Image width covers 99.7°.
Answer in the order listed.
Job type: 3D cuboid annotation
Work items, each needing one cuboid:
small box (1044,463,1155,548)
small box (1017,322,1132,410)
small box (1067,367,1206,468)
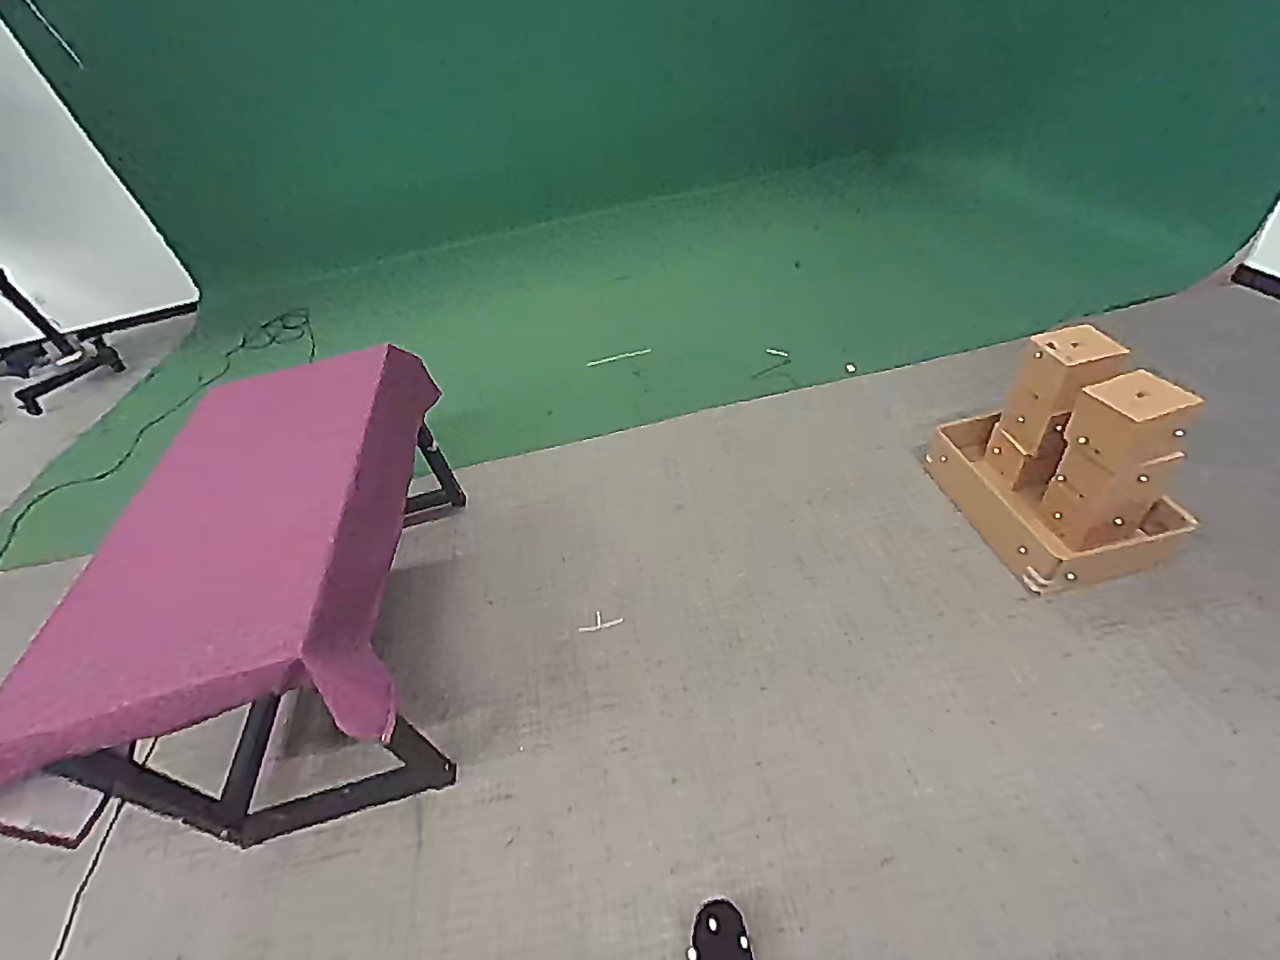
[{"bbox_3d":[1.341,0.077,1.599,0.179,0.176,0.168,-14,42,1],"label":"small box"},{"bbox_3d":[1.247,-0.329,1.569,0.179,0.176,0.168,-13,42,1],"label":"small box"},{"bbox_3d":[1.256,-0.158,1.386,0.179,0.176,0.168,-18,41,-2],"label":"small box"}]
